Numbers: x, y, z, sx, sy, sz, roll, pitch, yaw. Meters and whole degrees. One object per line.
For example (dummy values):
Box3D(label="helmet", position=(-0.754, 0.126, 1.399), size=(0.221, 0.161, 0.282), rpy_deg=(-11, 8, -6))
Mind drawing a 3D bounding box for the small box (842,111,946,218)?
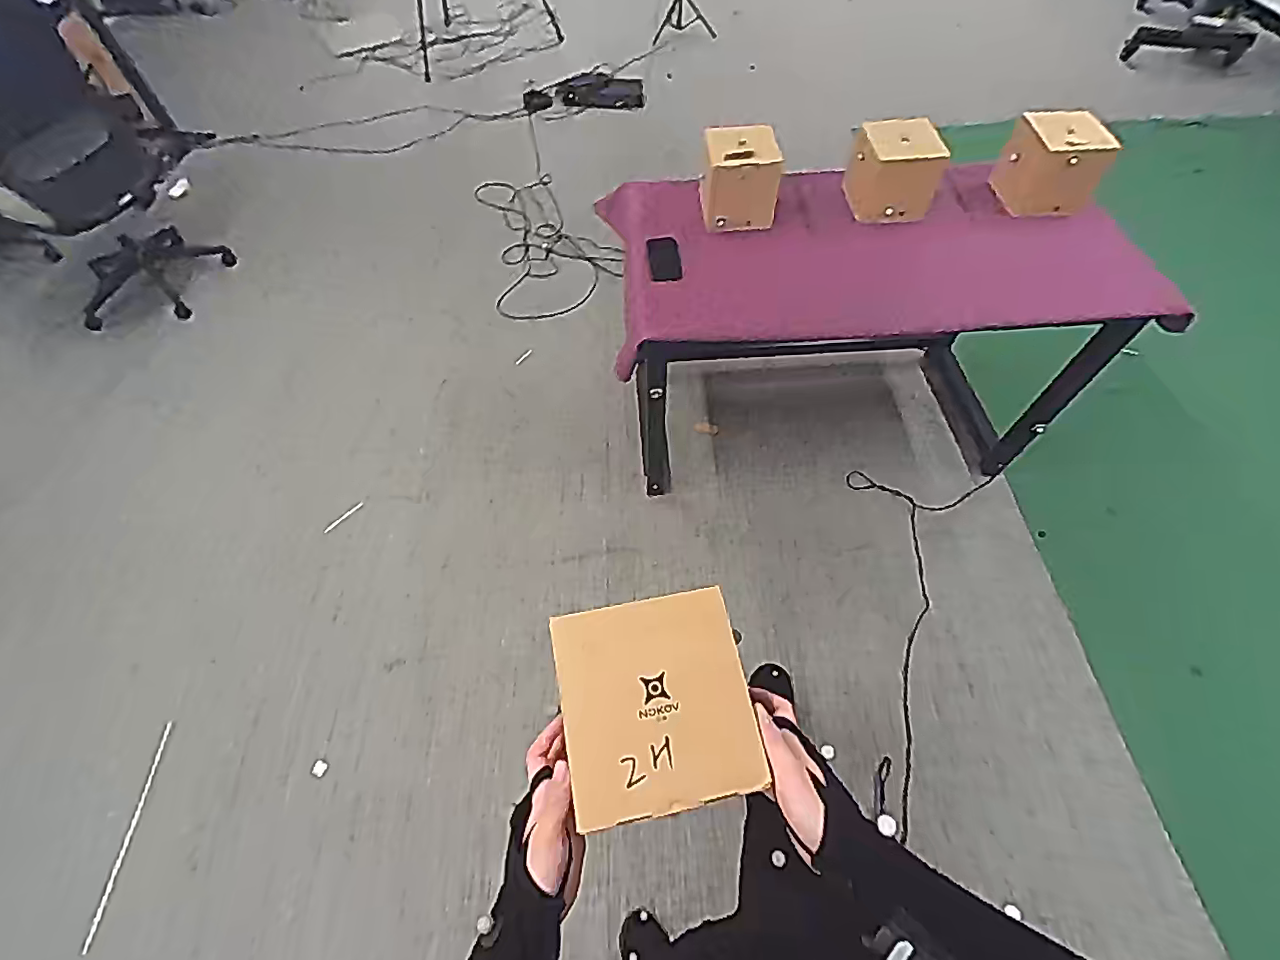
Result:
Box3D(label="small box", position=(0.618, -0.782, 1.344), size=(0.168, 0.176, 0.179), rpy_deg=(-4, 59, 2))

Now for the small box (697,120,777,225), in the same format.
Box3D(label="small box", position=(0.235, -0.756, 1.345), size=(0.168, 0.176, 0.179), rpy_deg=(-4, 58, 0))

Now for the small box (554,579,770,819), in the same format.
Box3D(label="small box", position=(0.010, 0.217, 0.547), size=(0.168, 0.176, 0.179), rpy_deg=(-10, 66, -7))

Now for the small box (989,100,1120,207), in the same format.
Box3D(label="small box", position=(1.008, -0.805, 1.337), size=(0.168, 0.176, 0.179), rpy_deg=(-3, 58, 2))
